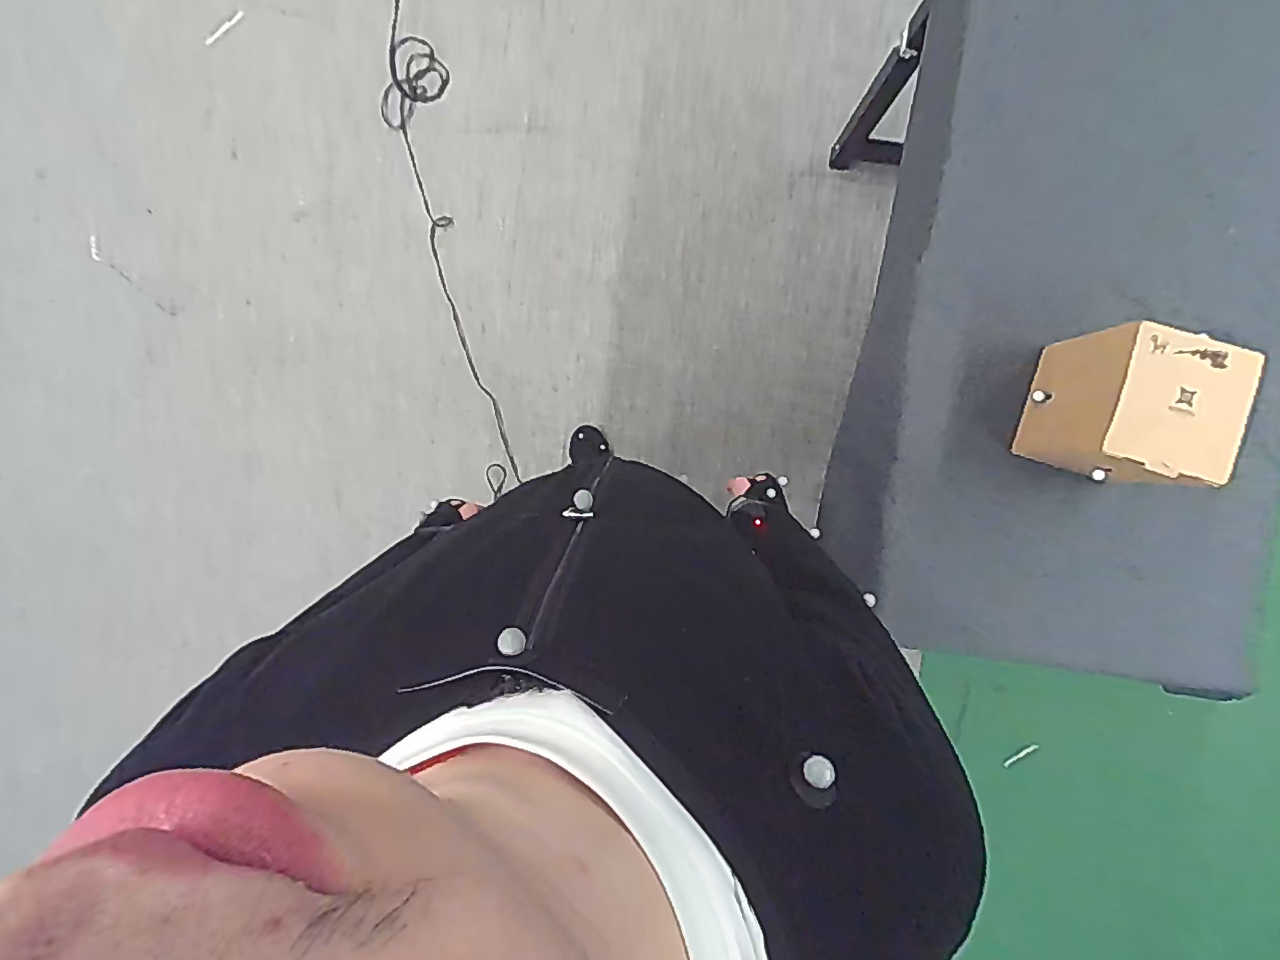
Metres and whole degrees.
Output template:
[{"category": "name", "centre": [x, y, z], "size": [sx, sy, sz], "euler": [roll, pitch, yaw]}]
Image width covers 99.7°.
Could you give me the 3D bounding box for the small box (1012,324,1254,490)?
[{"category": "small box", "centre": [0.677, -0.097, 0.768], "size": [0.168, 0.176, 0.179], "euler": [16, 93, -1]}]
